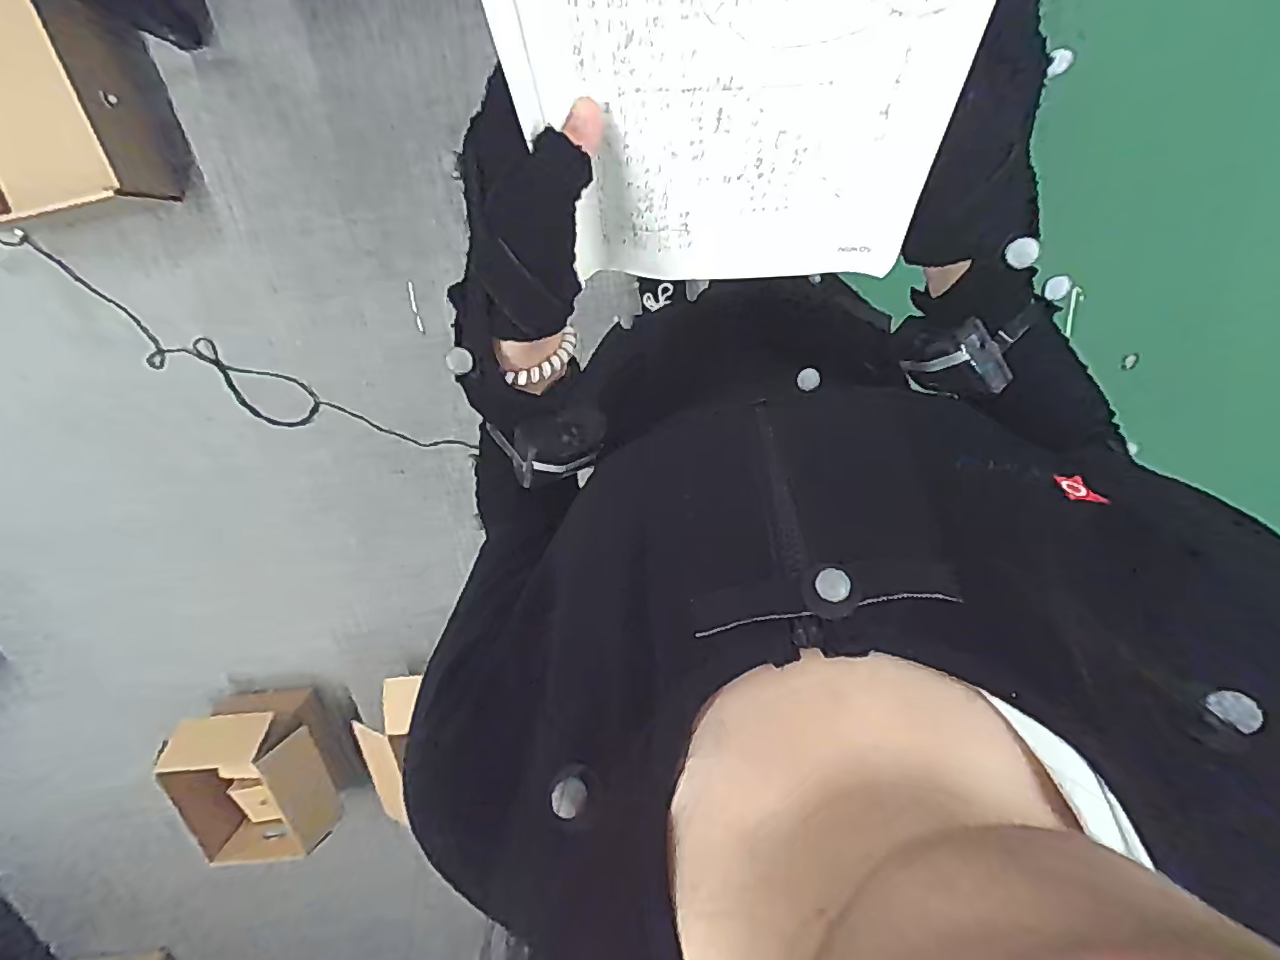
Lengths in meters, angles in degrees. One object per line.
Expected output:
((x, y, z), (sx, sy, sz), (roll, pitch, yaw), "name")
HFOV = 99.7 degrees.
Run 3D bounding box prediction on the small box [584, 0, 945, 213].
((0.058, -0.276, 0.304), (0.168, 0.176, 0.179), (-5, 131, 8), "small box")
